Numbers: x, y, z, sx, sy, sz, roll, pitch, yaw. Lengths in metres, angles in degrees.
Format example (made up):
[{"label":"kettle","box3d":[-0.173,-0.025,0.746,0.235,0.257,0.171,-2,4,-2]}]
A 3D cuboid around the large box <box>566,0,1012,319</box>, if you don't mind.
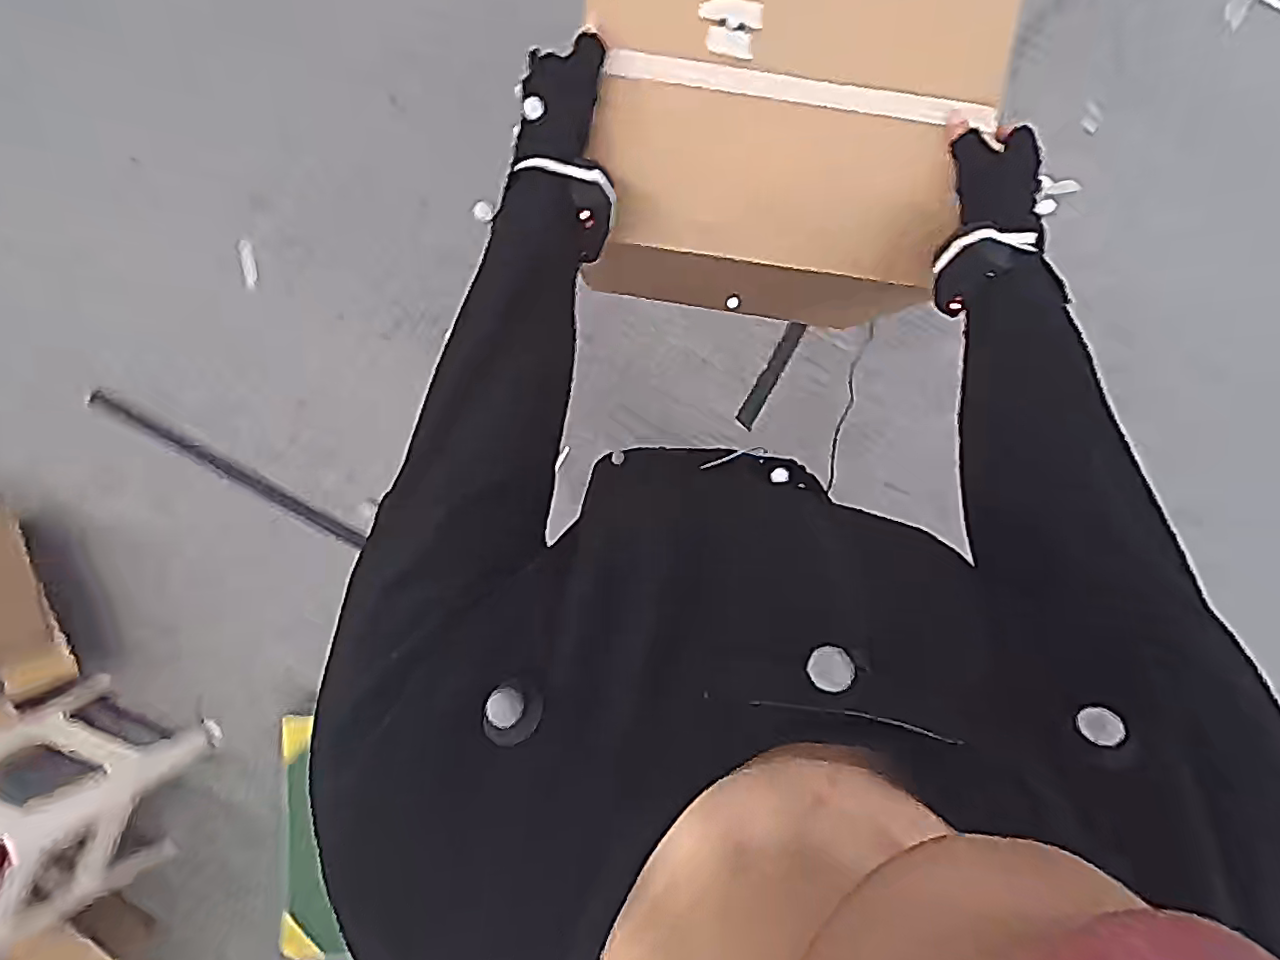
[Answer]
[{"label":"large box","box3d":[0.145,-0.399,0.675,0.408,0.320,0.320,9,98,-1]}]
